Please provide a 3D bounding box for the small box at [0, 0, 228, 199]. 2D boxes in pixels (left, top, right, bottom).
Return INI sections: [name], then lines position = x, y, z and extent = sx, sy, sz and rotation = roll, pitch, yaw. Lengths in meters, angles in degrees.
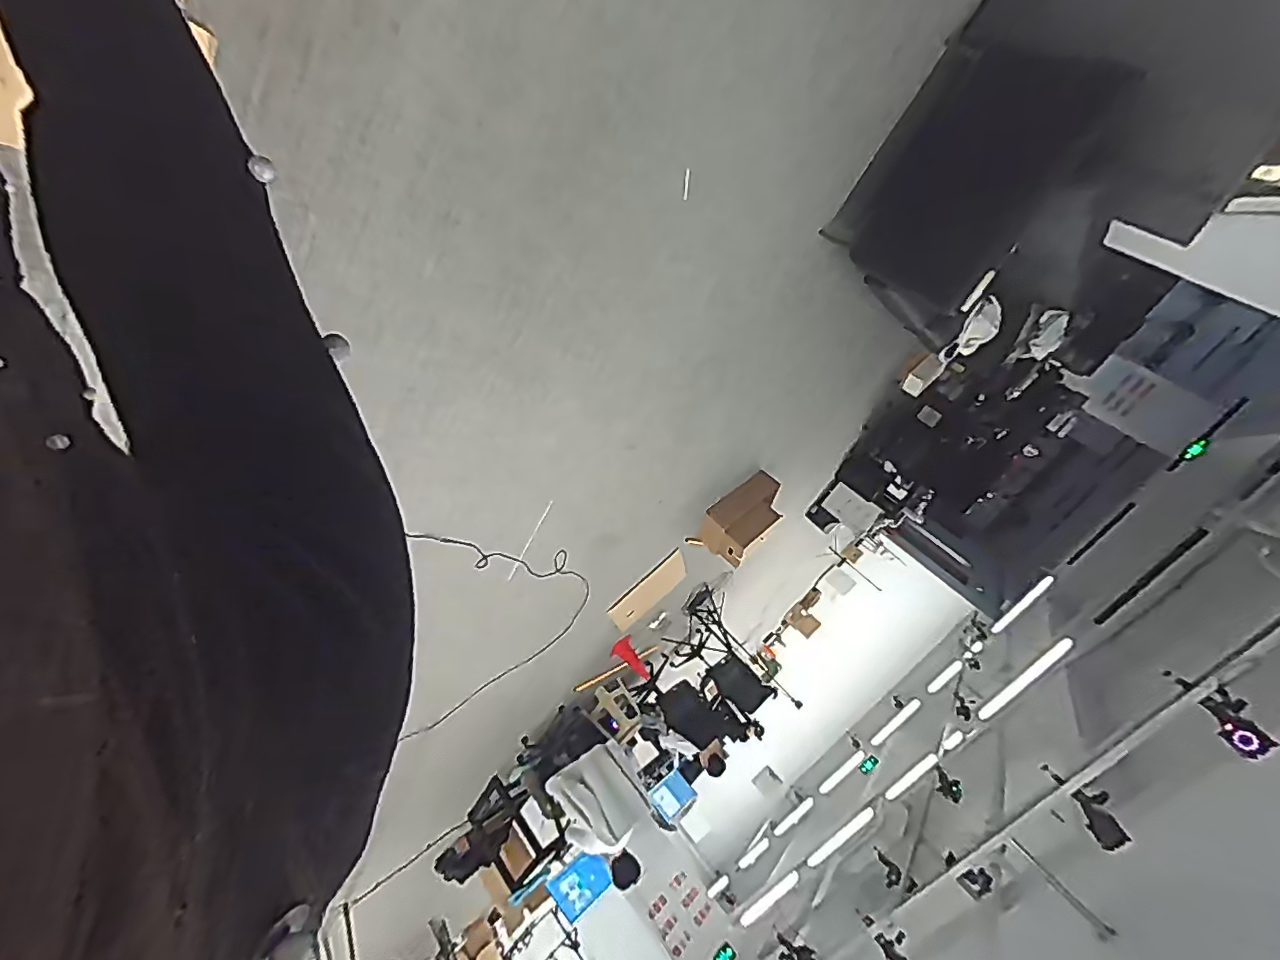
[small box]
position = -0.539, -0.409, 0.514
extent = 0.179, 0.176, 0.168
rotation = -3, 129, -56
